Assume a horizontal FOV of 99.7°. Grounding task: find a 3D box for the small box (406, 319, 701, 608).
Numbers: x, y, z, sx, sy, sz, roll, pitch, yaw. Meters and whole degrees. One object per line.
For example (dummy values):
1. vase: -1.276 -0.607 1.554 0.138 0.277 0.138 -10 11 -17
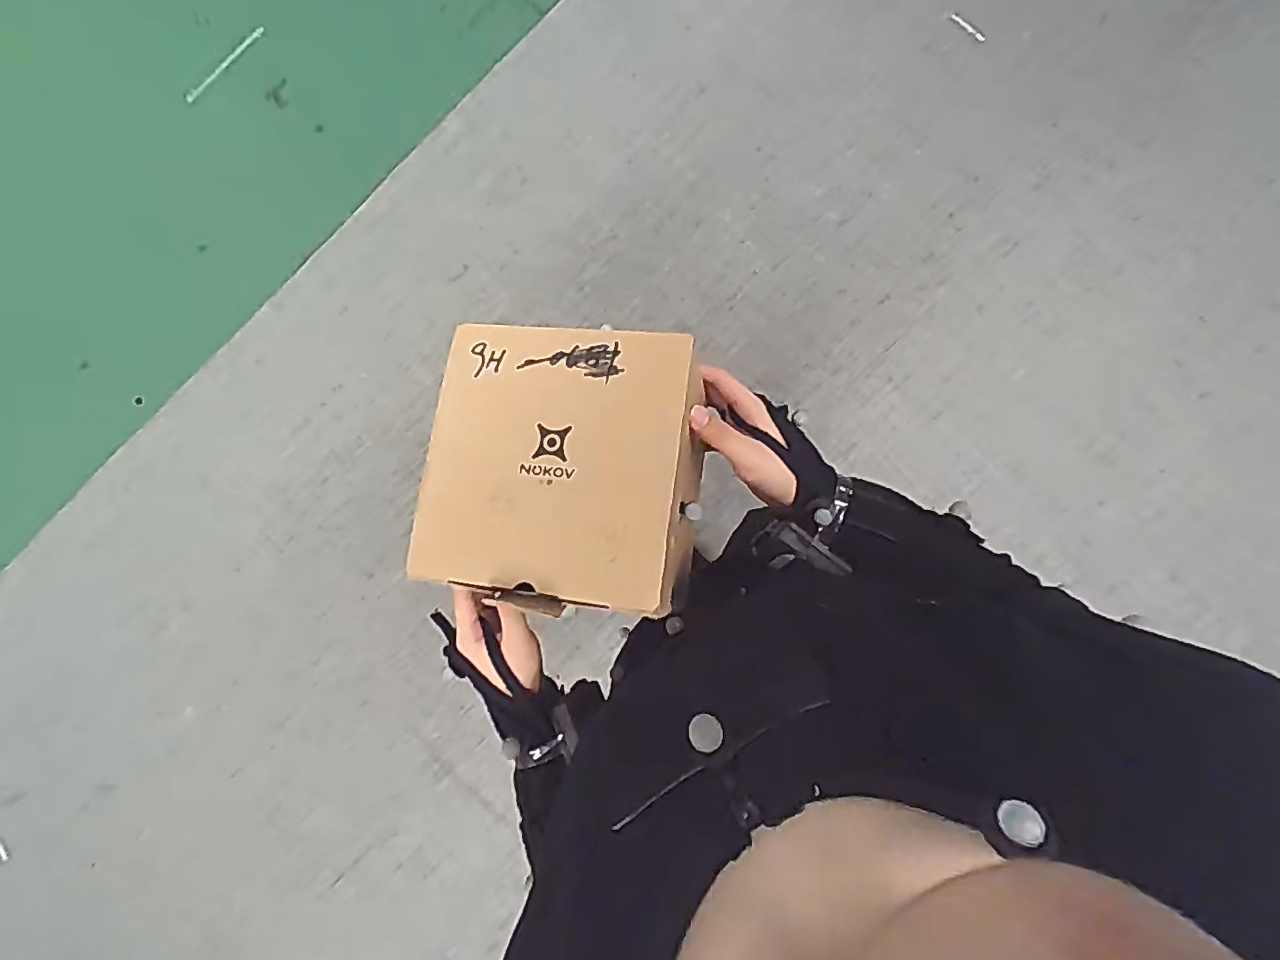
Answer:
1. small box: -0.046 -0.004 0.422 0.168 0.176 0.179 6 81 12
